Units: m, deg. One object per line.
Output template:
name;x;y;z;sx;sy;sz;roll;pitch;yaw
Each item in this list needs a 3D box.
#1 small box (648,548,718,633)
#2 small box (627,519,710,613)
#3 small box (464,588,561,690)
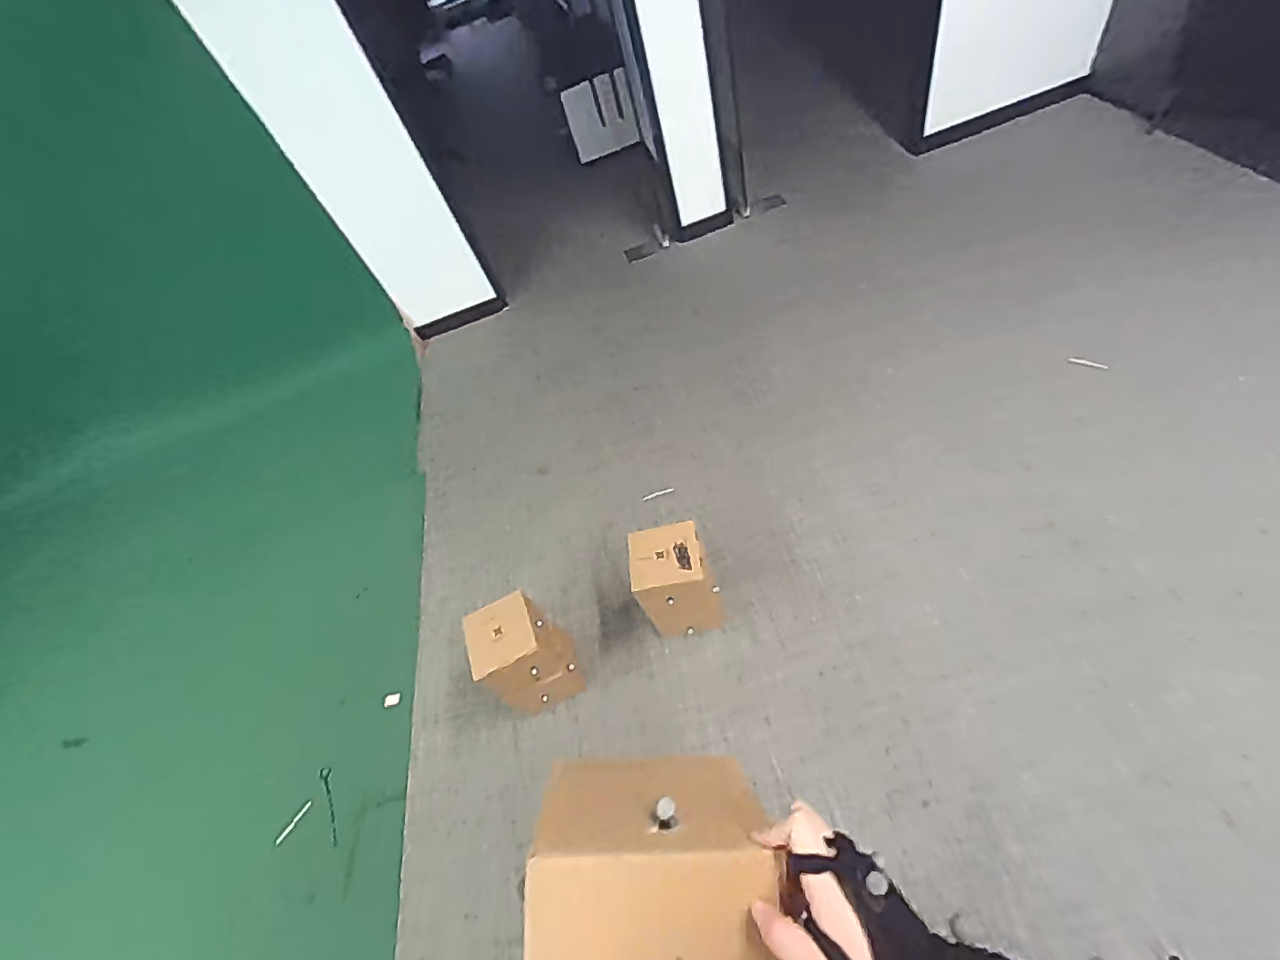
small box;0.118;0.312;1.512;0.179;0.176;0.168;-13;51;9
small box;0.076;0.224;1.378;0.179;0.176;0.168;-13;52;10
small box;-0.320;0.411;1.373;0.168;0.176;0.179;-26;50;-2
